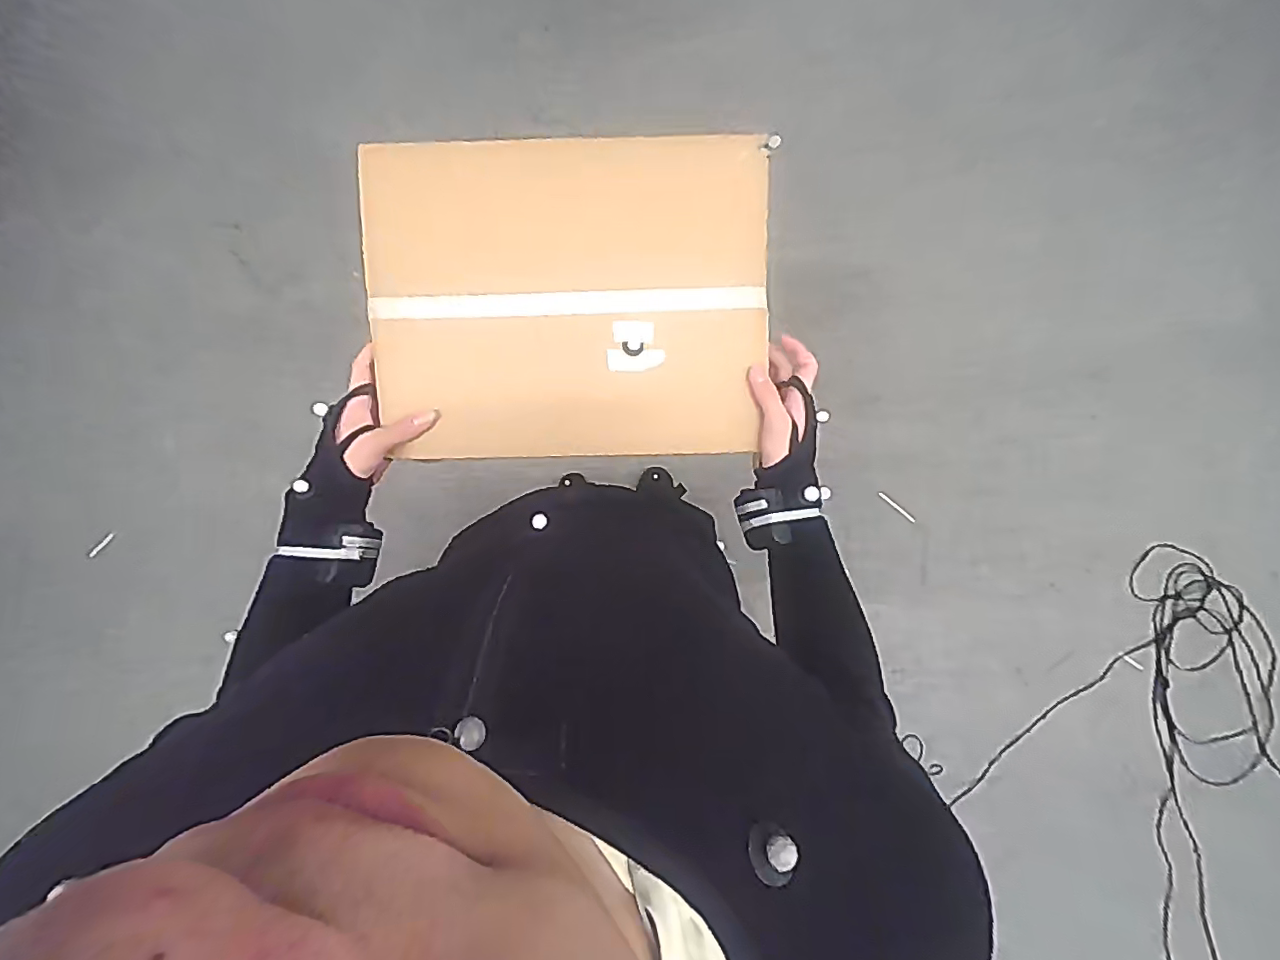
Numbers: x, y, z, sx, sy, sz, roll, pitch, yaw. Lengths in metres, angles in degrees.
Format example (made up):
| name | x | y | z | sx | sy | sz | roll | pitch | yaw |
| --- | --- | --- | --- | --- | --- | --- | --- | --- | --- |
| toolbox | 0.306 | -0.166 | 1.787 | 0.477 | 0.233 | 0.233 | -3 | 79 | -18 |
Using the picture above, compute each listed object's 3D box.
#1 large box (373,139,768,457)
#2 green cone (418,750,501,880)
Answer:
| name | x | y | z | sx | sy | sz | roll | pitch | yaw |
| --- | --- | --- | --- | --- | --- | --- | --- | --- | --- |
| large box | -0.069 | -0.202 | 0.707 | 0.408 | 0.320 | 0.320 | -1 | 98 | 0 |
| green cone | -0.522 | 0.928 | 1.475 | 0.200 | 0.368 | 0.202 | 2 | 93 | -1 |
